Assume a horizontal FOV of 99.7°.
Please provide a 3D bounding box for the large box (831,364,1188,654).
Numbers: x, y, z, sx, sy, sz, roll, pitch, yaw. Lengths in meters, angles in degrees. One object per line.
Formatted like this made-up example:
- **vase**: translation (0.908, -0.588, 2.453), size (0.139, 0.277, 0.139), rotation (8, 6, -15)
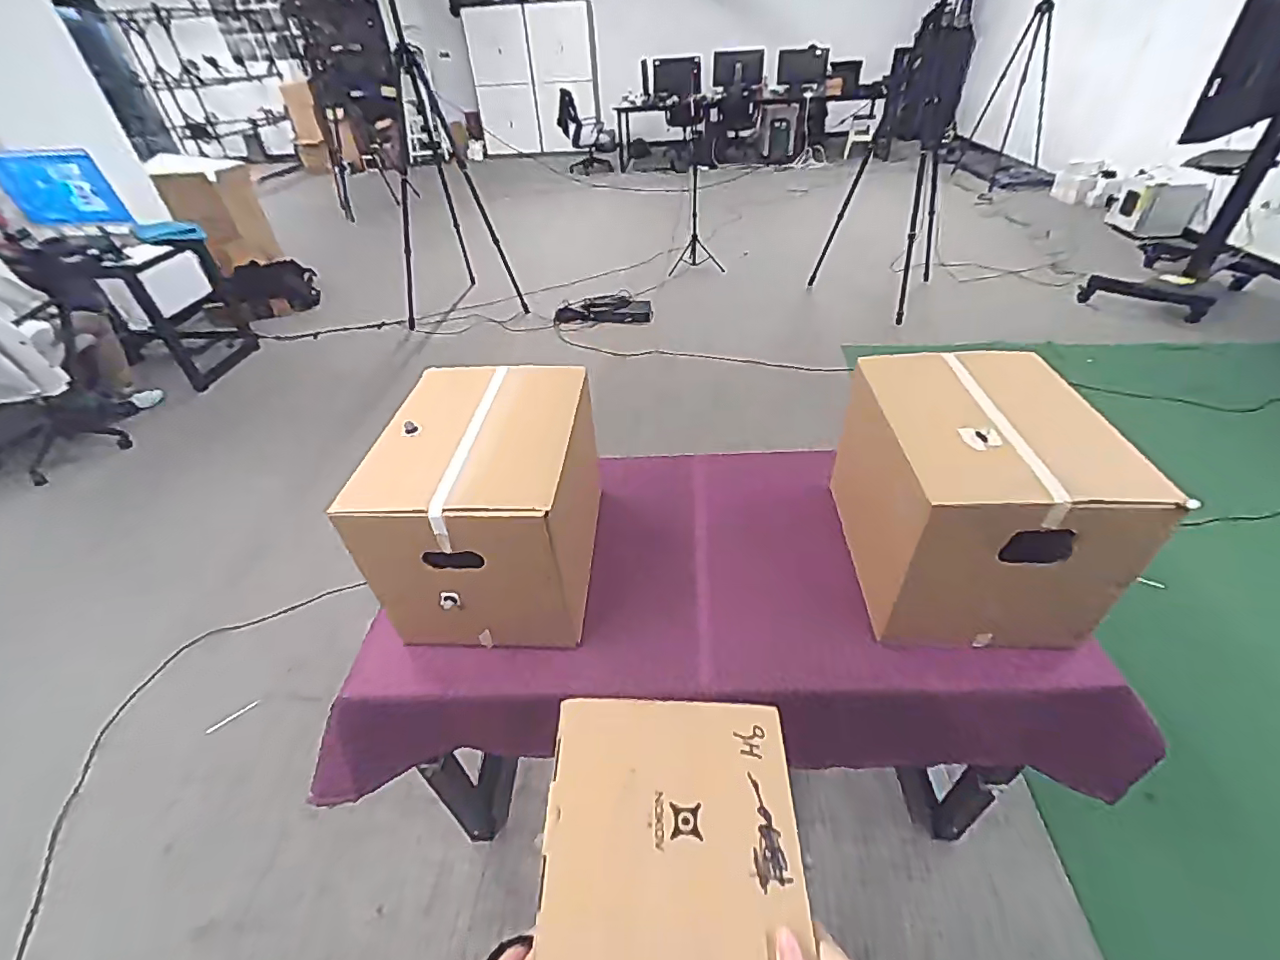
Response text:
- **large box**: translation (0.550, 0.036, 0.930), size (0.320, 0.320, 0.408), rotation (0, 41, 5)
